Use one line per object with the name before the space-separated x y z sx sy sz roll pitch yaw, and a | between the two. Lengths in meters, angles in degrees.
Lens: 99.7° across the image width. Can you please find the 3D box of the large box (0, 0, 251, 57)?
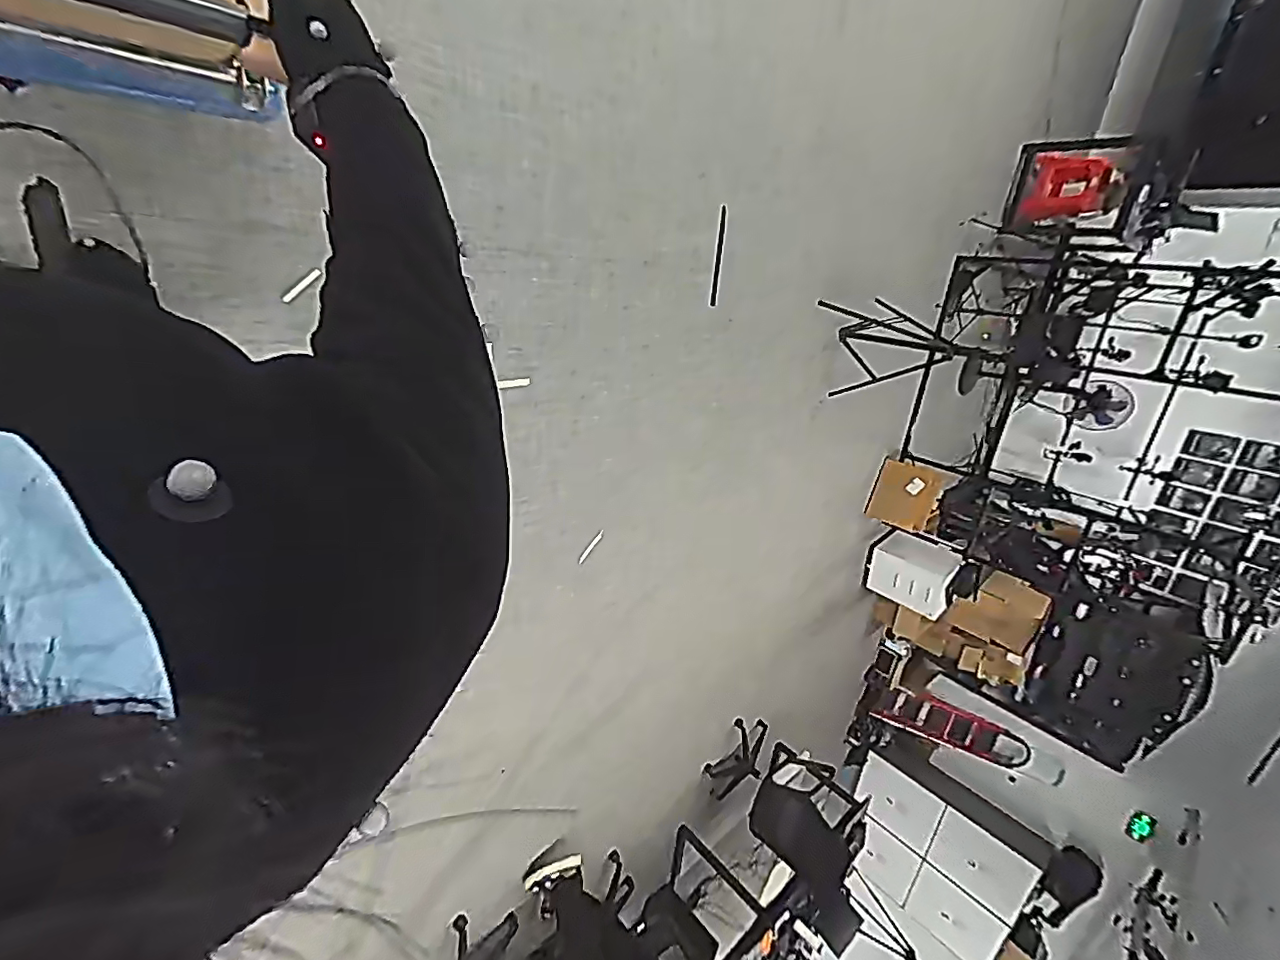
large box | -0.762 -0.770 0.642 0.408 0.320 0.320 -16 121 -42
